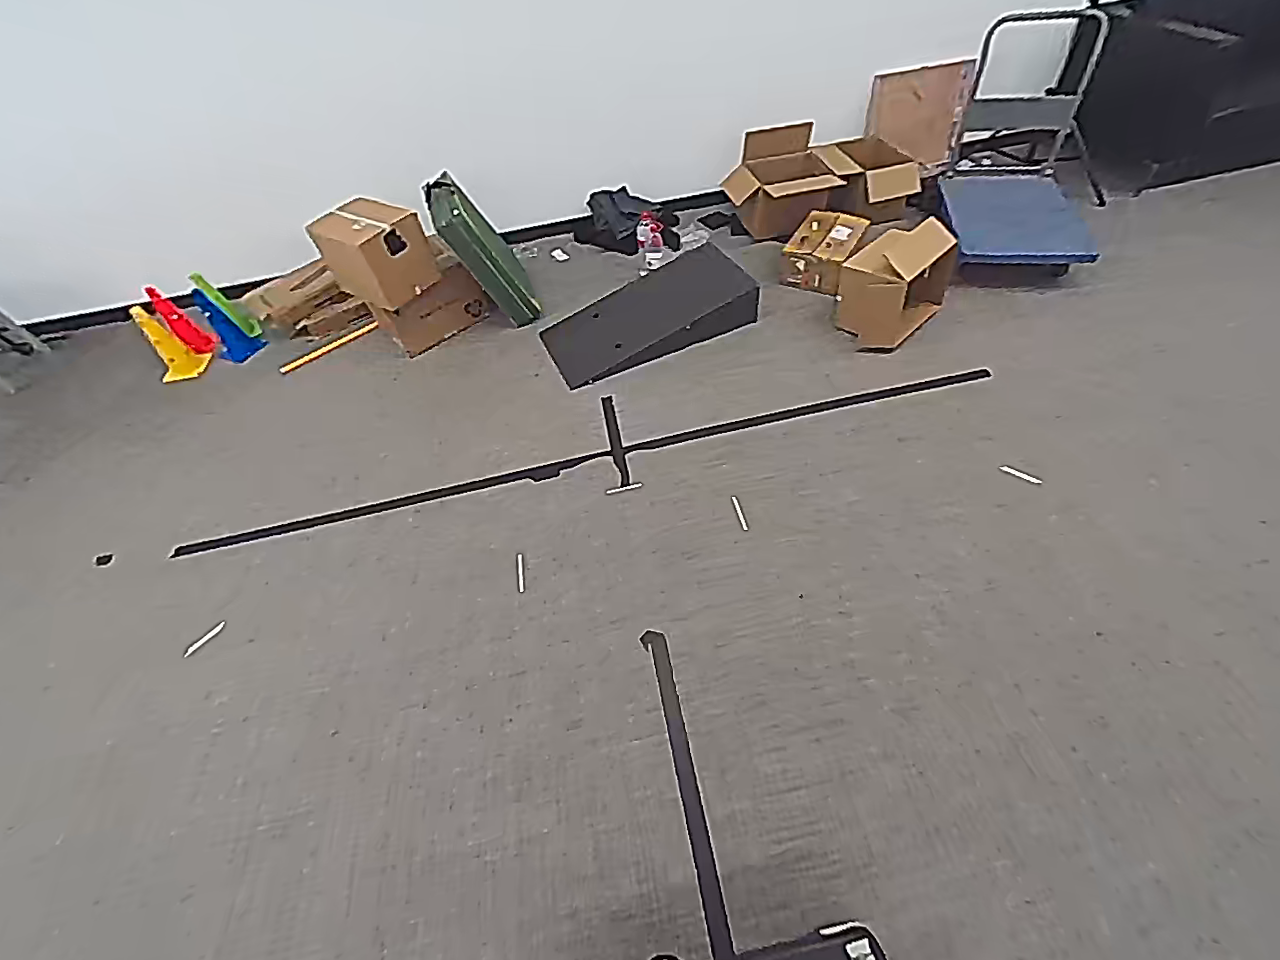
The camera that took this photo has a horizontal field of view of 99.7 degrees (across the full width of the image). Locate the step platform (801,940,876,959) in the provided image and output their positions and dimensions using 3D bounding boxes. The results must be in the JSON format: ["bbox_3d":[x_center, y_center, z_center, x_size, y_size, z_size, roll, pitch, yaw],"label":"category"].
[{"bbox_3d":[0.182,1.140,1.027,0.684,0.204,0.286,-12,51,-4],"label":"step platform"}]
